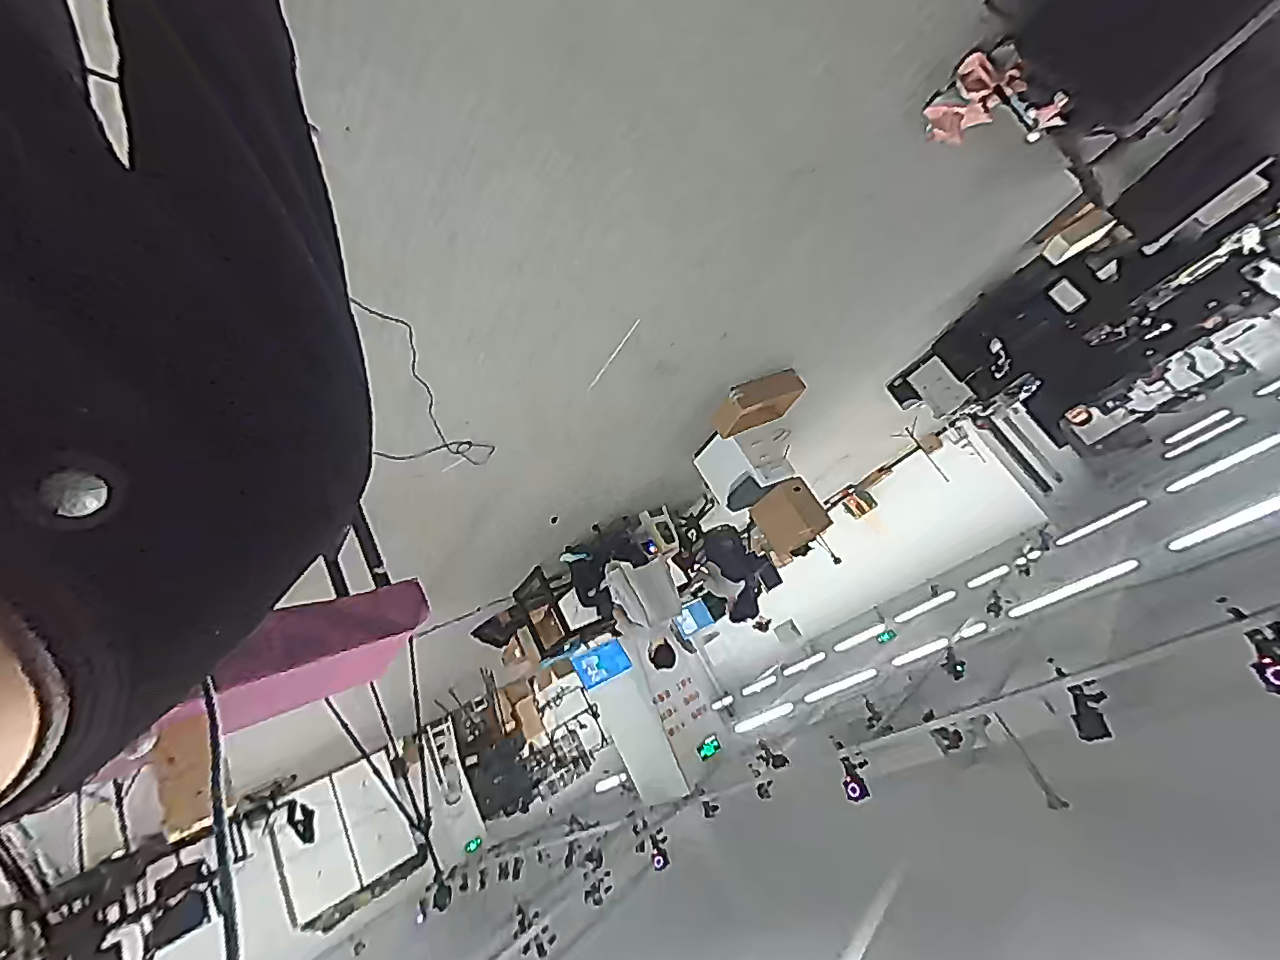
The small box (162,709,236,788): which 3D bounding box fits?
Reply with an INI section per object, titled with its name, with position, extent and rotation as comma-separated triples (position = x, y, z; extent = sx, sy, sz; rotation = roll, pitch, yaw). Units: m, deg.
[small box]
position = -1.546, 0.935, 1.890
extent = 0.179, 0.176, 0.168
rotation = -9, 153, -47
